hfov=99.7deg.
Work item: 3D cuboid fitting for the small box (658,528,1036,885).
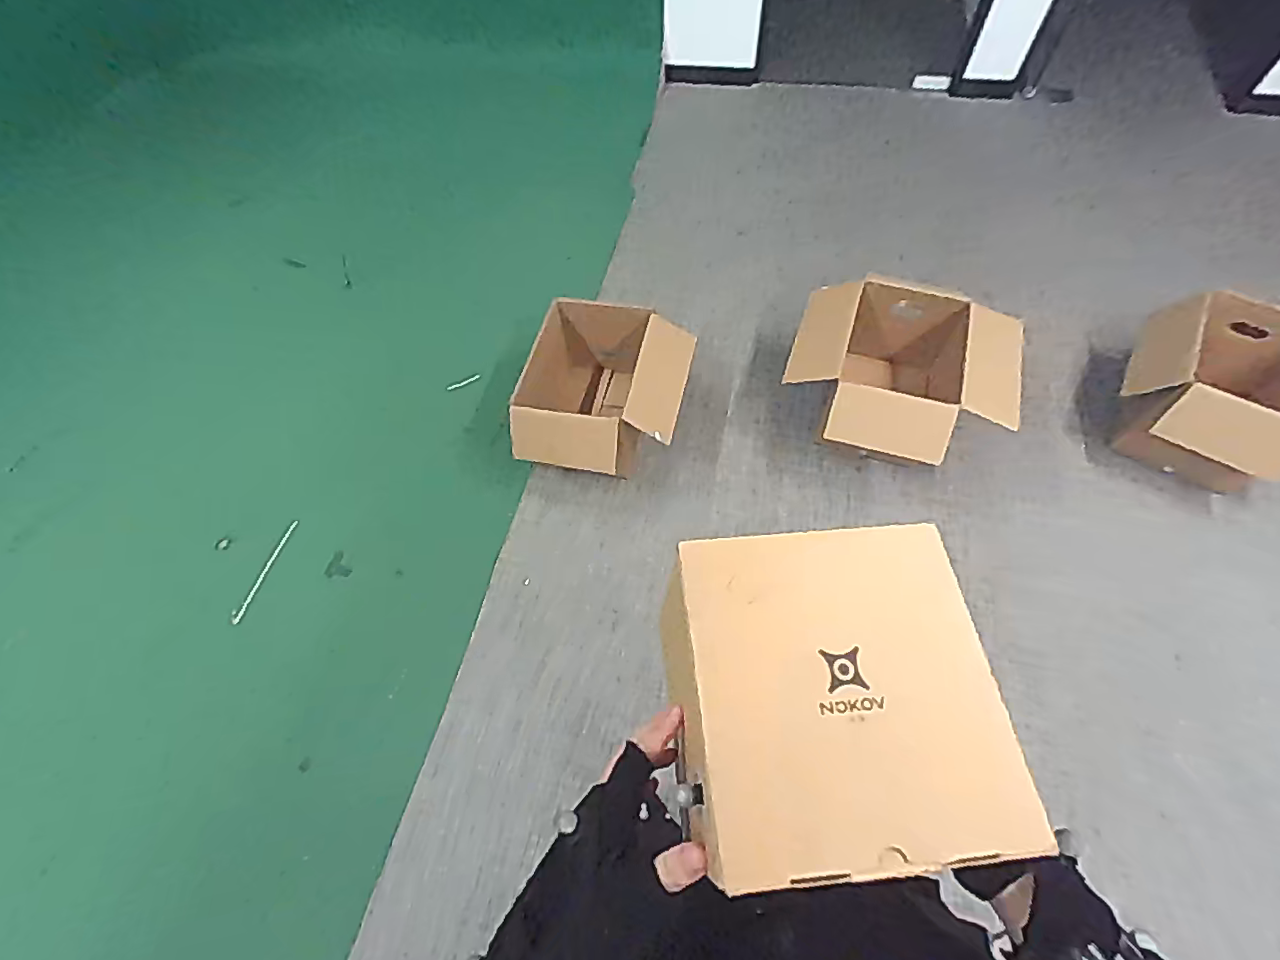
[{"bbox_3d":[0.105,0.148,0.369,0.168,0.176,0.179,-4,63,-4],"label":"small box"}]
